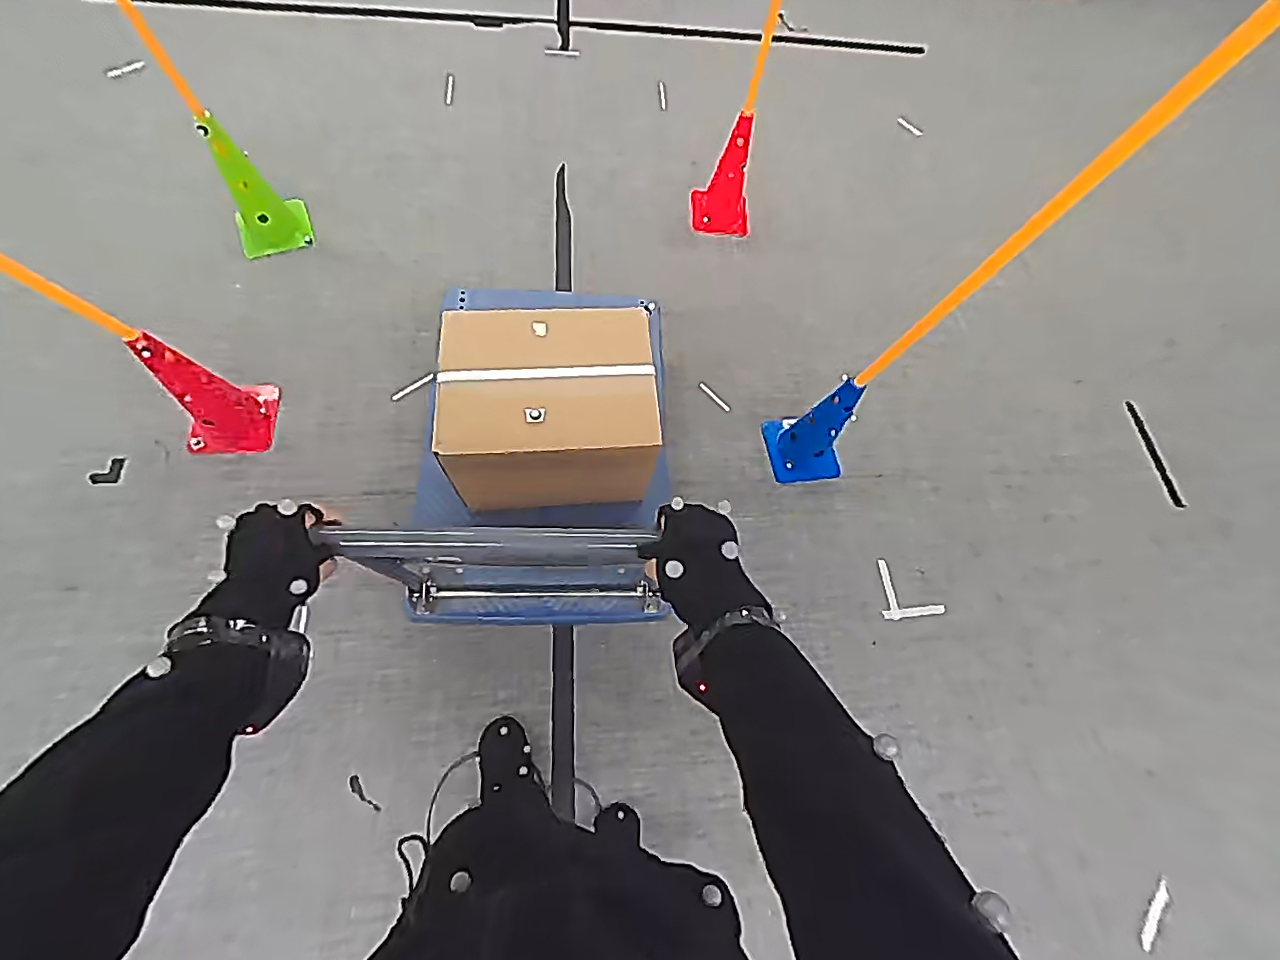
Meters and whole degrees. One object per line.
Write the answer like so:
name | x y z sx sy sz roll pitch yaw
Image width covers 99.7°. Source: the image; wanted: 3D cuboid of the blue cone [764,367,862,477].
blue cone | 0.483 -0.164 1.417 0.193 0.380 0.192 -5 67 -9

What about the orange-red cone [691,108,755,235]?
orange-red cone | 0.298 -1.001 1.726 0.199 0.360 0.198 5 68 -5
